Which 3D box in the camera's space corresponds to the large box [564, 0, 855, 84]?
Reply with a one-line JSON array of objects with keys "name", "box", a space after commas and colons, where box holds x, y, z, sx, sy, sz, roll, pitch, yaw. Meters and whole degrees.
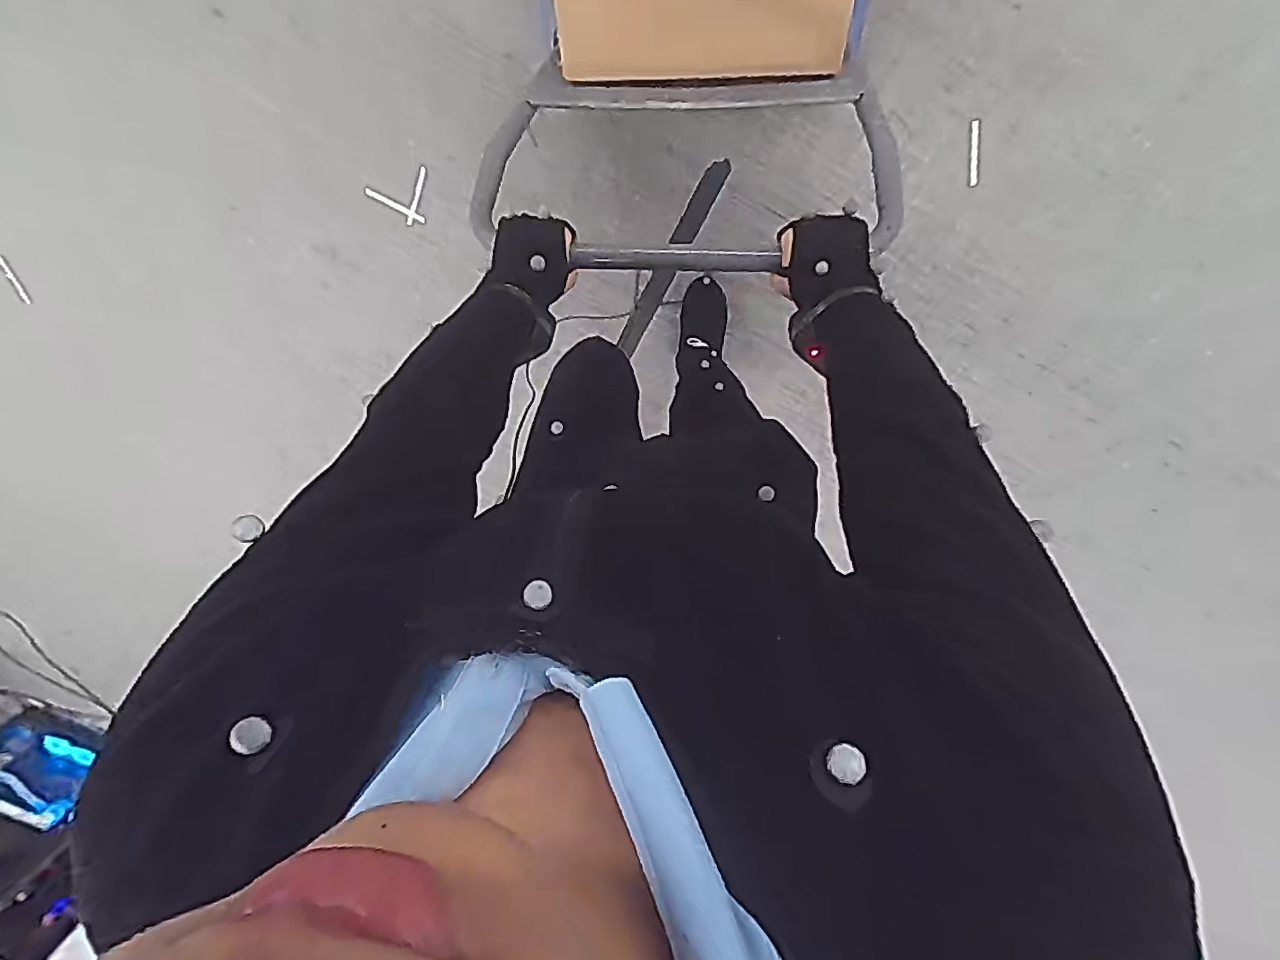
[{"name": "large box", "box": [0.099, -0.811, 0.787, 0.408, 0.320, 0.320, 2, 139, 6]}]
